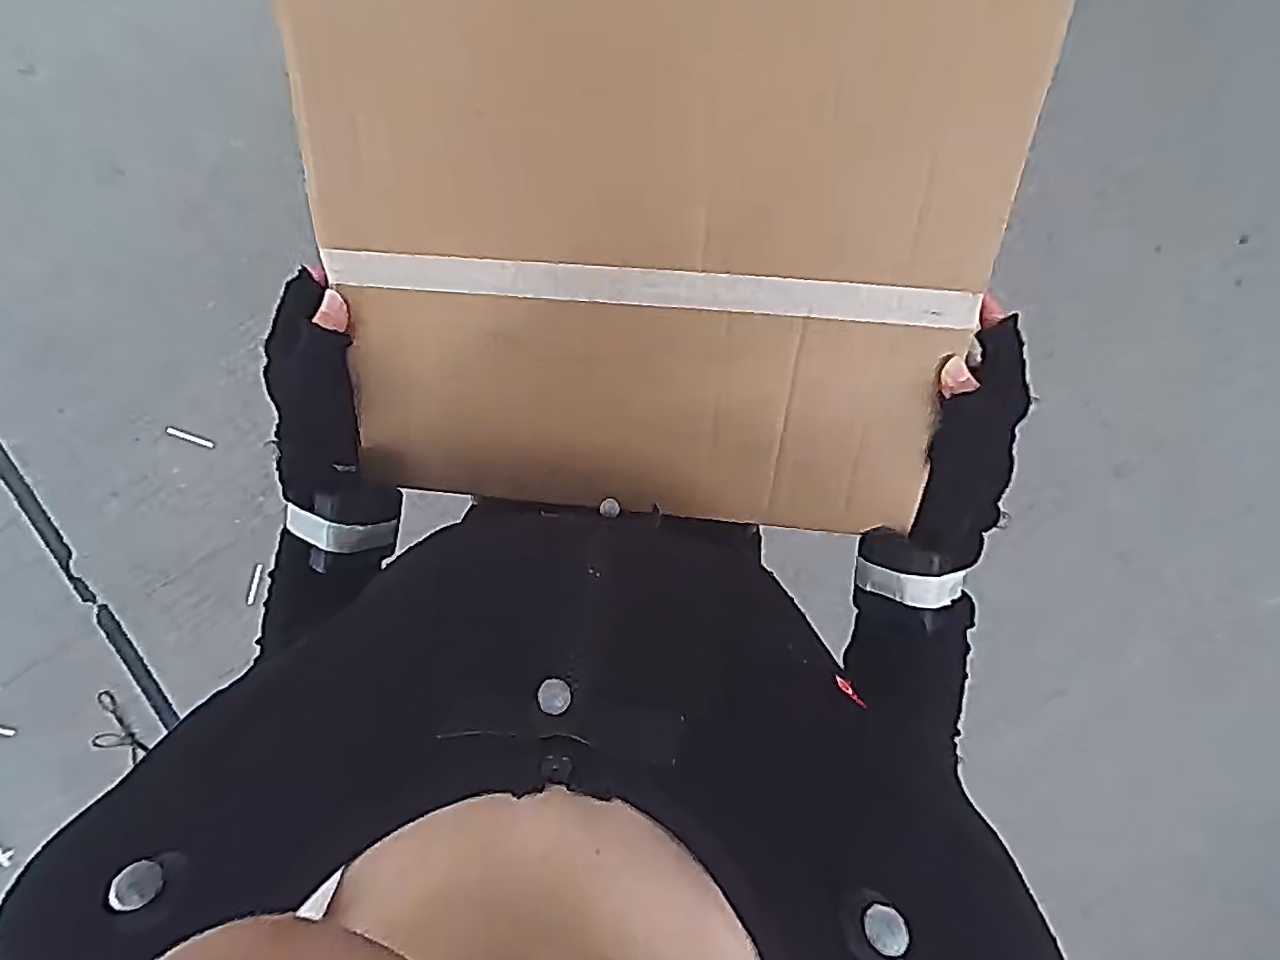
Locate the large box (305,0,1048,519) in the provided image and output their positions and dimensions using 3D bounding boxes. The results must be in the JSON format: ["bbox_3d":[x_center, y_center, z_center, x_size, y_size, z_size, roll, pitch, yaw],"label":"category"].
[{"bbox_3d":[0.015,-0.186,0.482,0.408,0.320,0.320,5,117,3],"label":"large box"}]
